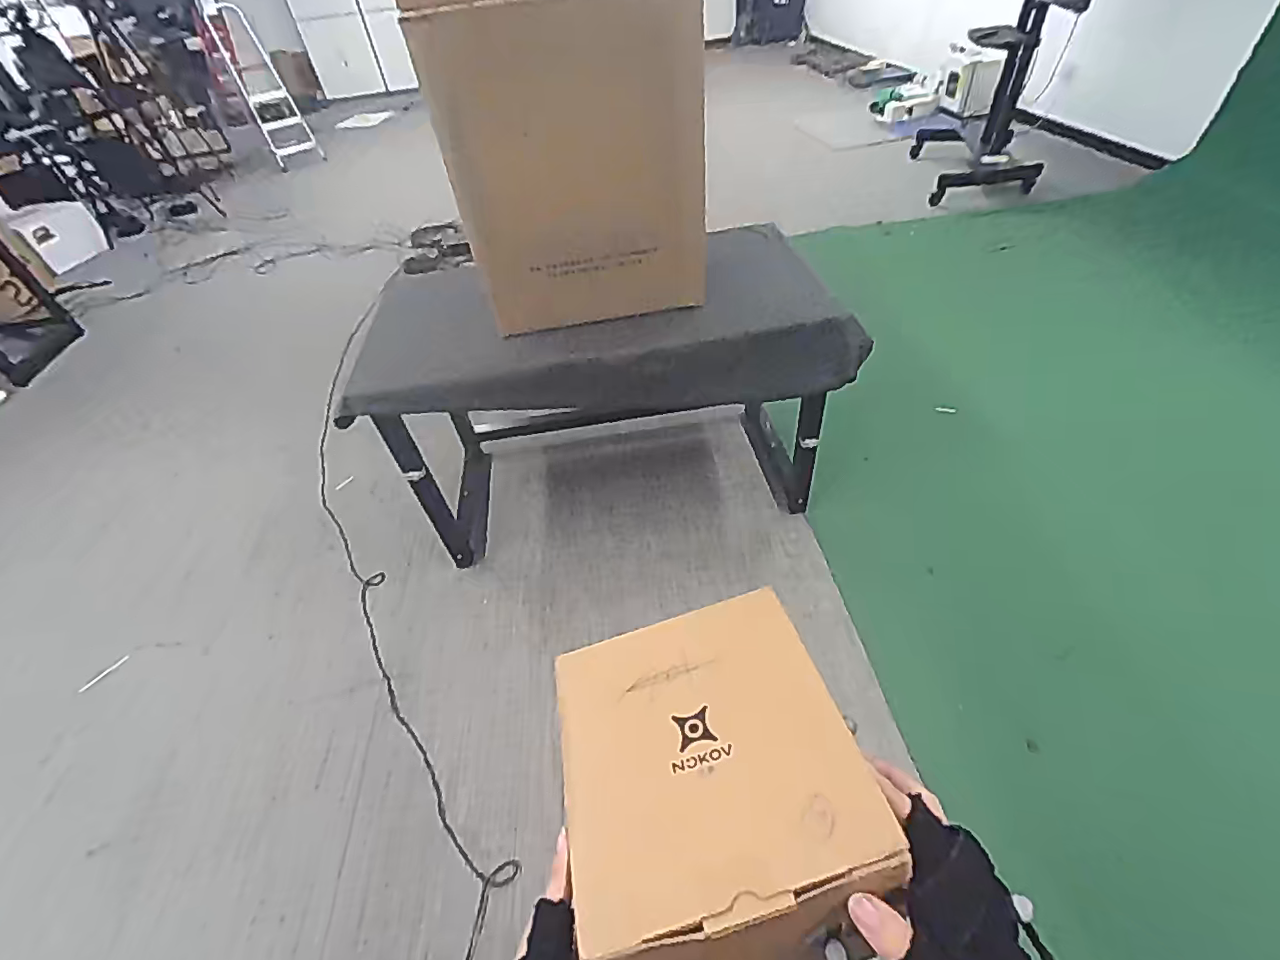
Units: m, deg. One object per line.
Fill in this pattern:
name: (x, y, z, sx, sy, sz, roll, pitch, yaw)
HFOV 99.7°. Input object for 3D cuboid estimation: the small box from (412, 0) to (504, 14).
small box: (-0.328, -0.928, 0.932, 0.168, 0.176, 0.179, -10, 48, -2)
